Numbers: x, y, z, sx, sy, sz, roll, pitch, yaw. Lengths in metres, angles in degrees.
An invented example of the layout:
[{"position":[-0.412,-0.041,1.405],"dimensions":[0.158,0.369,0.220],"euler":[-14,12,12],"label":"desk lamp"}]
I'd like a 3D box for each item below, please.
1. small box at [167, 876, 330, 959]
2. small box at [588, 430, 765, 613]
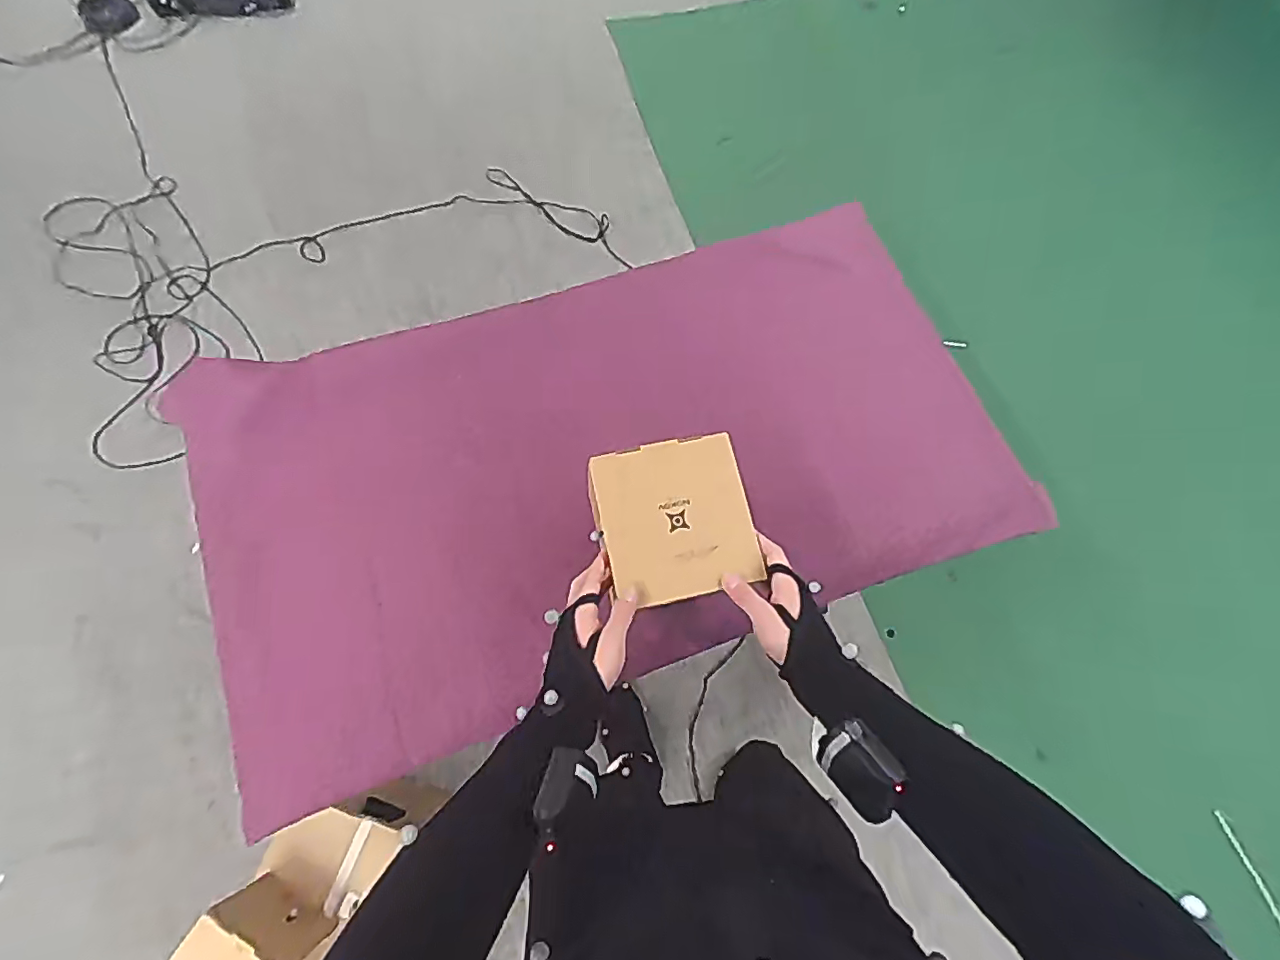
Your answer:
[{"position":[-0.658,0.806,0.884],"dimensions":[0.168,0.176,0.179],"euler":[30,73,8],"label":"small box"},{"position":[0.030,0.059,0.662],"dimensions":[0.168,0.176,0.179],"euler":[-11,77,-8],"label":"small box"}]
